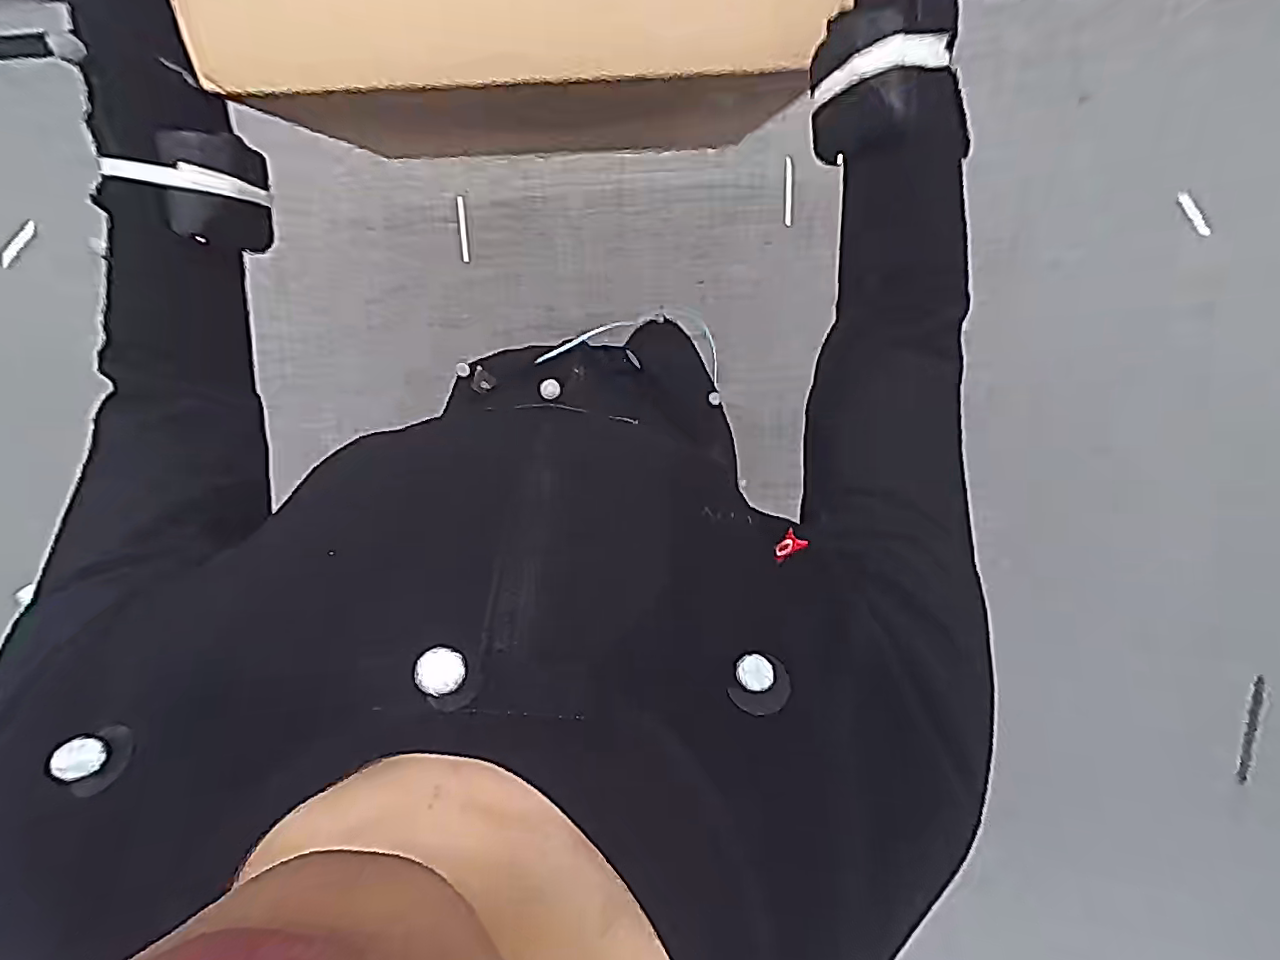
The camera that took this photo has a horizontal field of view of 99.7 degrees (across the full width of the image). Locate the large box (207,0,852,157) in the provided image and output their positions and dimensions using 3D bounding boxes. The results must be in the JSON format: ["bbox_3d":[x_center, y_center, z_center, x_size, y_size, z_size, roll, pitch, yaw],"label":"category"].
[{"bbox_3d":[-0.080,-0.460,0.425,0.408,0.320,0.320,-4,115,-3],"label":"large box"}]
